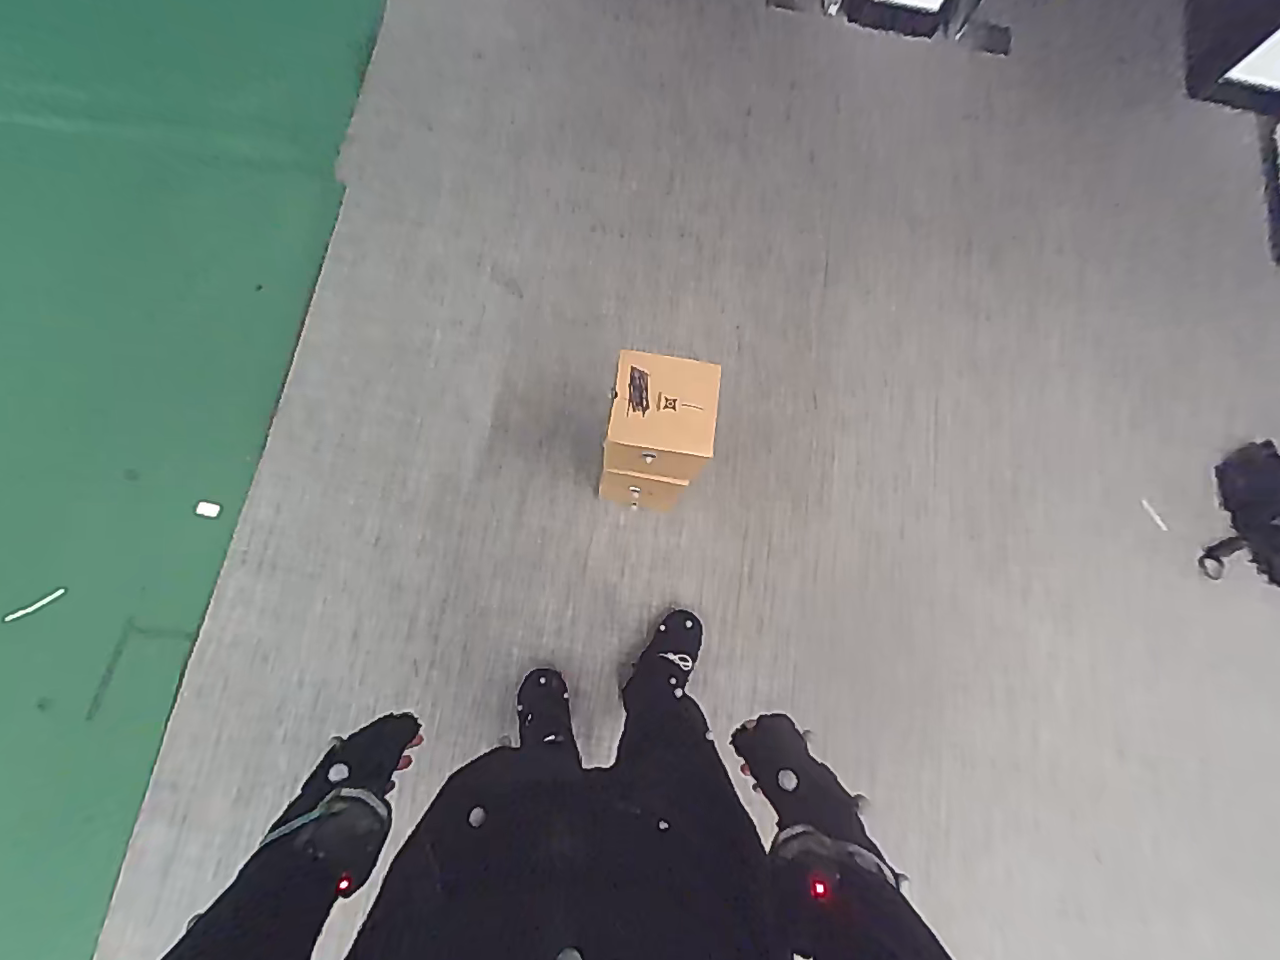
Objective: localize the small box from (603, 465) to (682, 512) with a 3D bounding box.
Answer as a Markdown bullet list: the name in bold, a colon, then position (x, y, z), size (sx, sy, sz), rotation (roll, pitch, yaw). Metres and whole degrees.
- **small box**: position (0.014, -0.027, 1.278), size (0.179, 0.176, 0.168), rotation (12, 76, -2)

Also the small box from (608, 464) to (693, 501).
- **small box**: position (0.028, -0.065, 1.120), size (0.168, 0.176, 0.179), rotation (10, 78, 0)

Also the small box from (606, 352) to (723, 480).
- **small box**: position (0.038, -0.104, 0.961), size (0.179, 0.176, 0.168), rotation (9, 77, -2)
